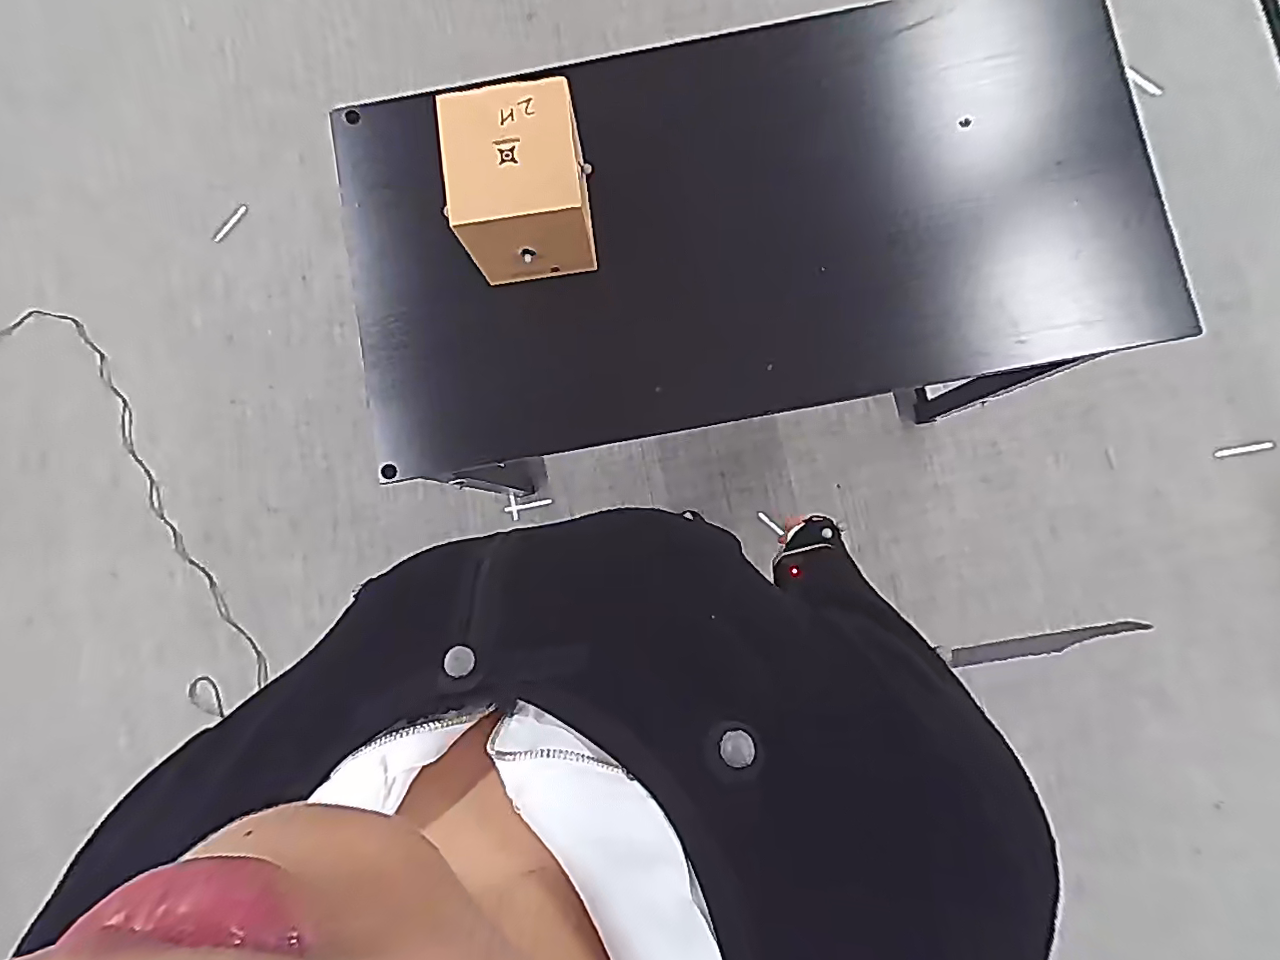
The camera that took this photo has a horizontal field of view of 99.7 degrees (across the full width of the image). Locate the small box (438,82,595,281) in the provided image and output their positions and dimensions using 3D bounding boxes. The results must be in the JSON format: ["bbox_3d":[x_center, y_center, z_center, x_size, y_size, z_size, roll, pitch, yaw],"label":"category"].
[{"bbox_3d":[-0.160,-0.394,0.749,0.168,0.176,0.179,-8,84,1],"label":"small box"}]
